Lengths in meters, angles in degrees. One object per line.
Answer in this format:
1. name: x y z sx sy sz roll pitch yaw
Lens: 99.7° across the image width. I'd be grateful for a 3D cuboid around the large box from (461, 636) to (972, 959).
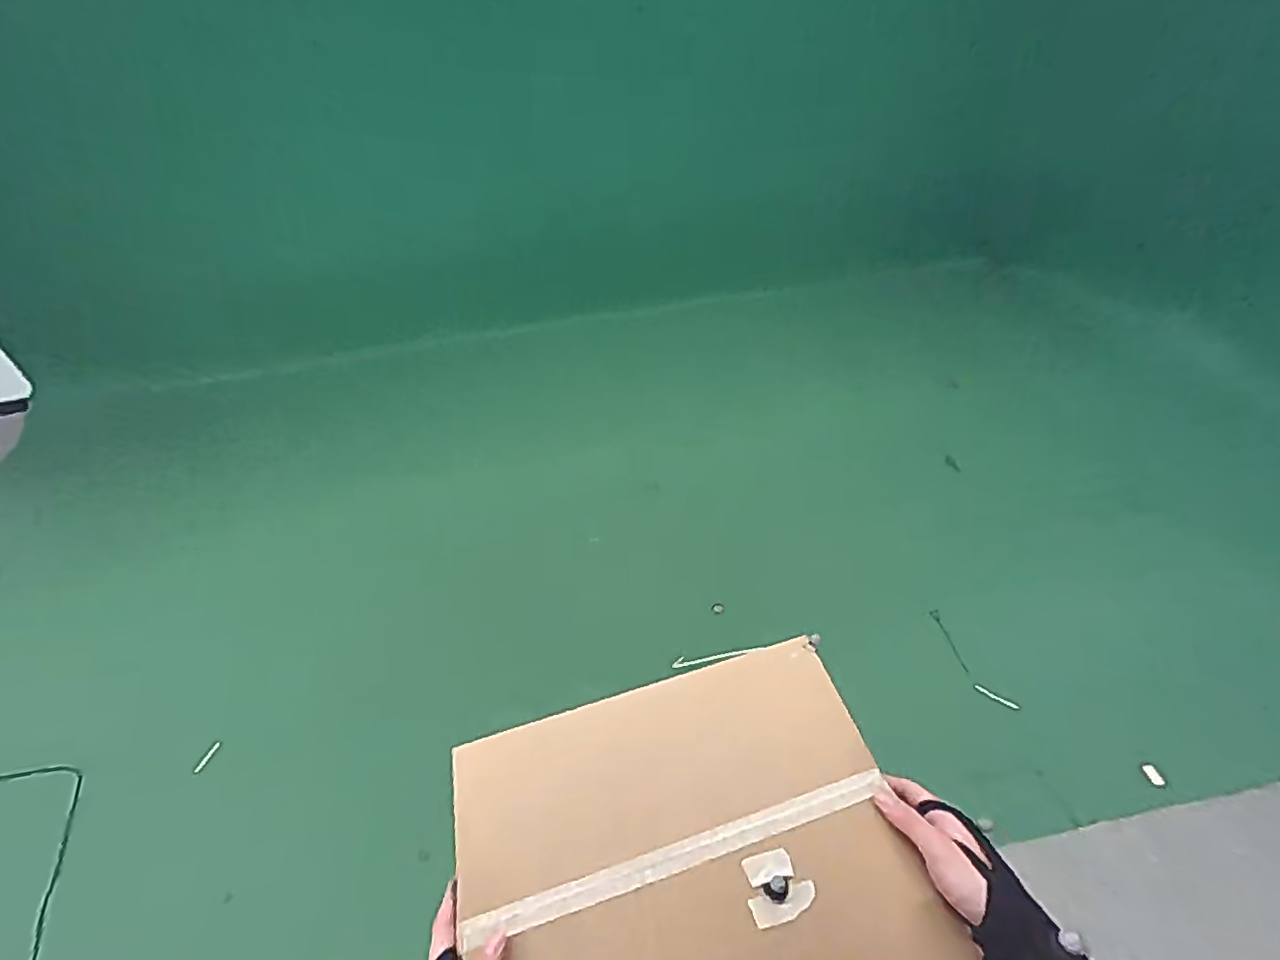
1. large box: 0.050 0.440 0.616 0.408 0.320 0.320 -15 49 -9
